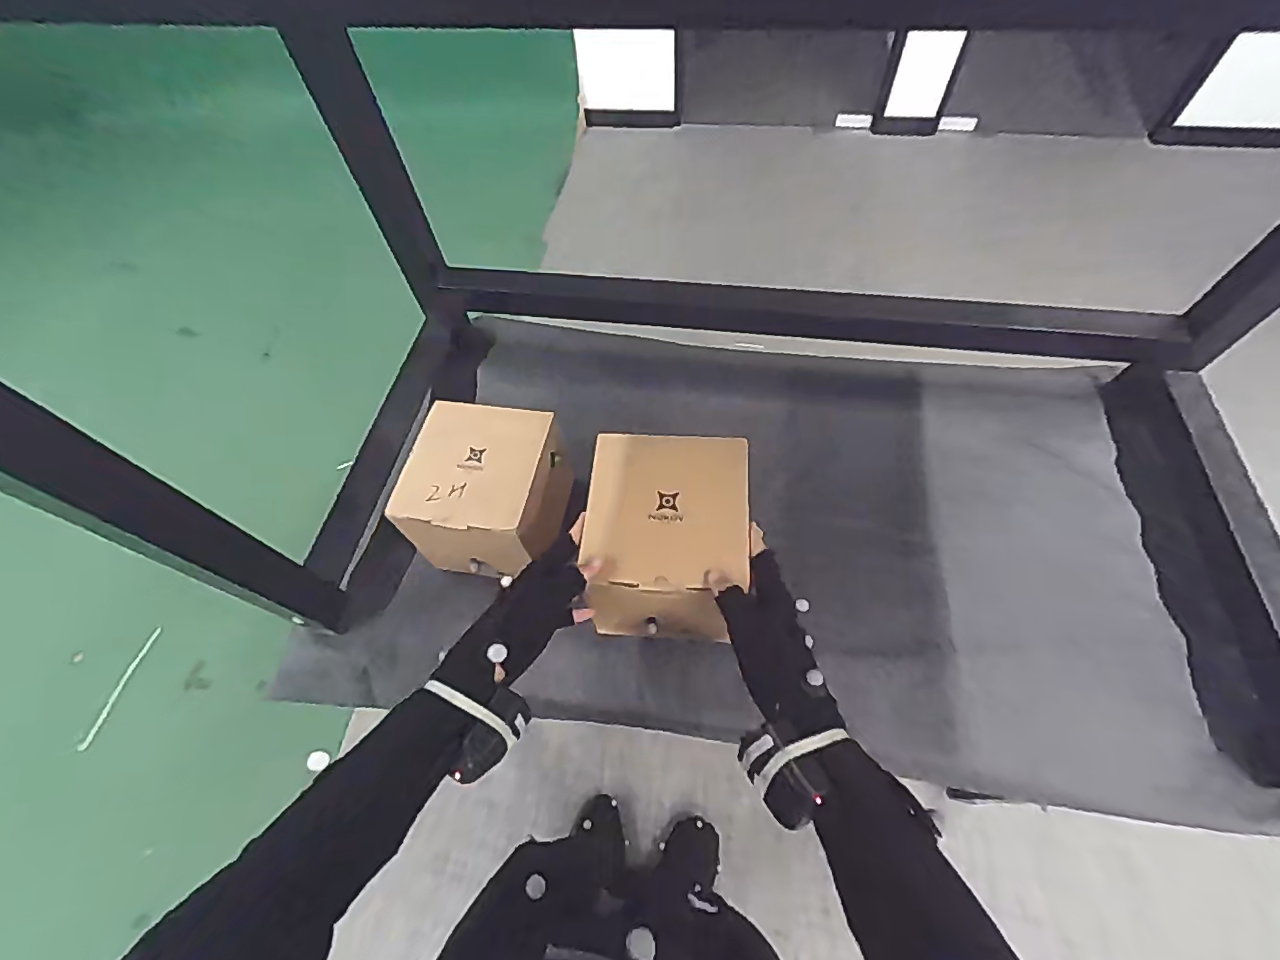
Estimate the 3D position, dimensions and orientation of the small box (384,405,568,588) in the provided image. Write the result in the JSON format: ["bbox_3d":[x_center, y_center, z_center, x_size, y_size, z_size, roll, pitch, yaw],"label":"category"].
[{"bbox_3d":[-0.203,0.025,0.731,0.168,0.176,0.179,7,59,8],"label":"small box"}]

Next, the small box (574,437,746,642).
[{"bbox_3d":[0.028,0.071,0.619,0.168,0.176,0.179,2,58,5],"label":"small box"}]
